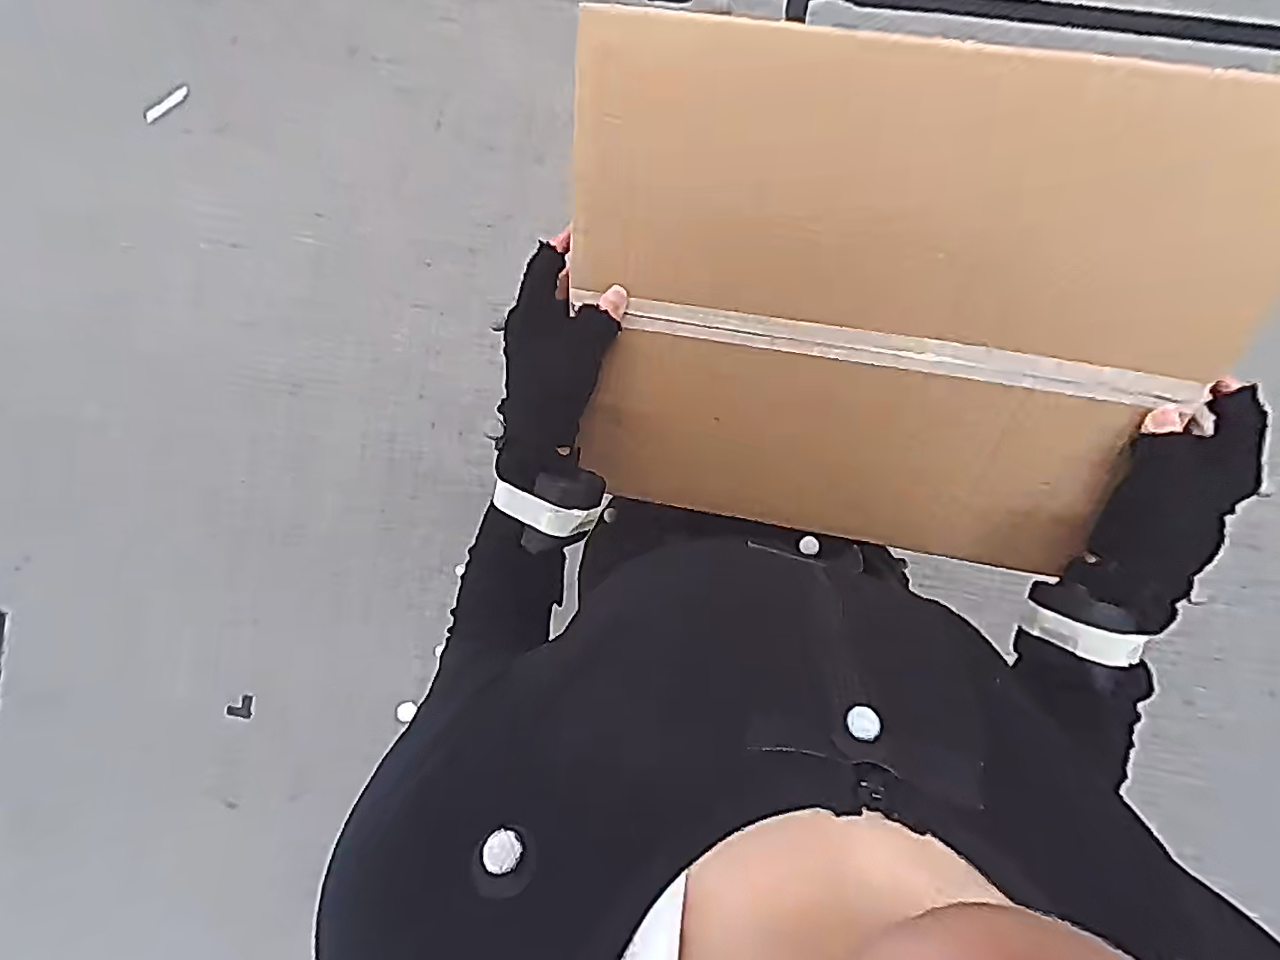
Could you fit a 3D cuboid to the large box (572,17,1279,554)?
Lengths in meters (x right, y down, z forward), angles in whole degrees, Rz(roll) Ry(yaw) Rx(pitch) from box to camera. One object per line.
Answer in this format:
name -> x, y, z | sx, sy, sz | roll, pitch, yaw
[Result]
large box -> 0.171, -0.178, 0.487 | 0.408, 0.320, 0.320 | 10, 126, 5
